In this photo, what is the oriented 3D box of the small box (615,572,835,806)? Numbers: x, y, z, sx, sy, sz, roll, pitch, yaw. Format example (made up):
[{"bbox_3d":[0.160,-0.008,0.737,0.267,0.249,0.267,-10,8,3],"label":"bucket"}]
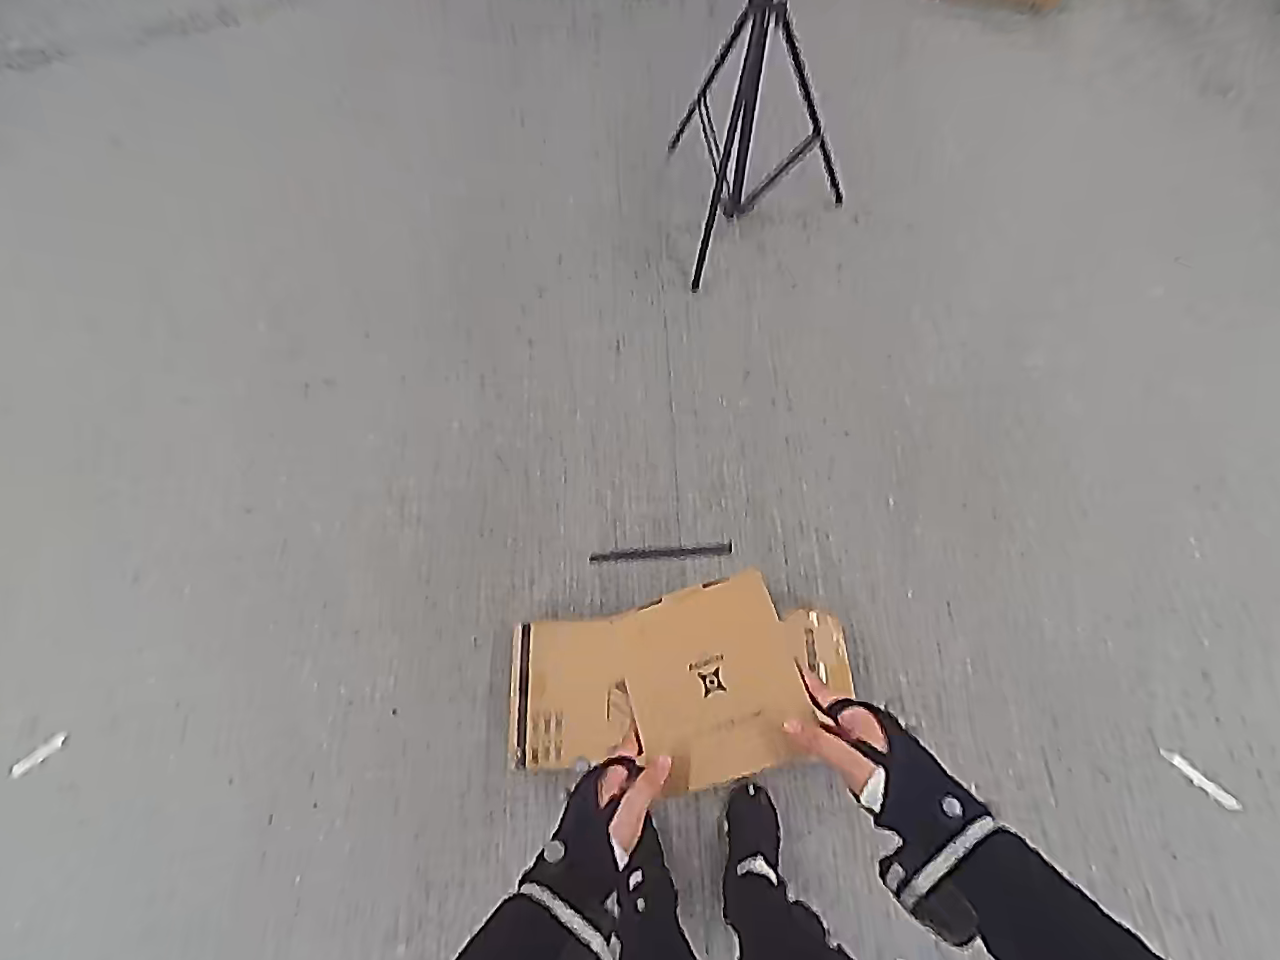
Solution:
[{"bbox_3d":[0.087,0.222,0.583,0.168,0.176,0.179,-20,65,4],"label":"small box"}]
